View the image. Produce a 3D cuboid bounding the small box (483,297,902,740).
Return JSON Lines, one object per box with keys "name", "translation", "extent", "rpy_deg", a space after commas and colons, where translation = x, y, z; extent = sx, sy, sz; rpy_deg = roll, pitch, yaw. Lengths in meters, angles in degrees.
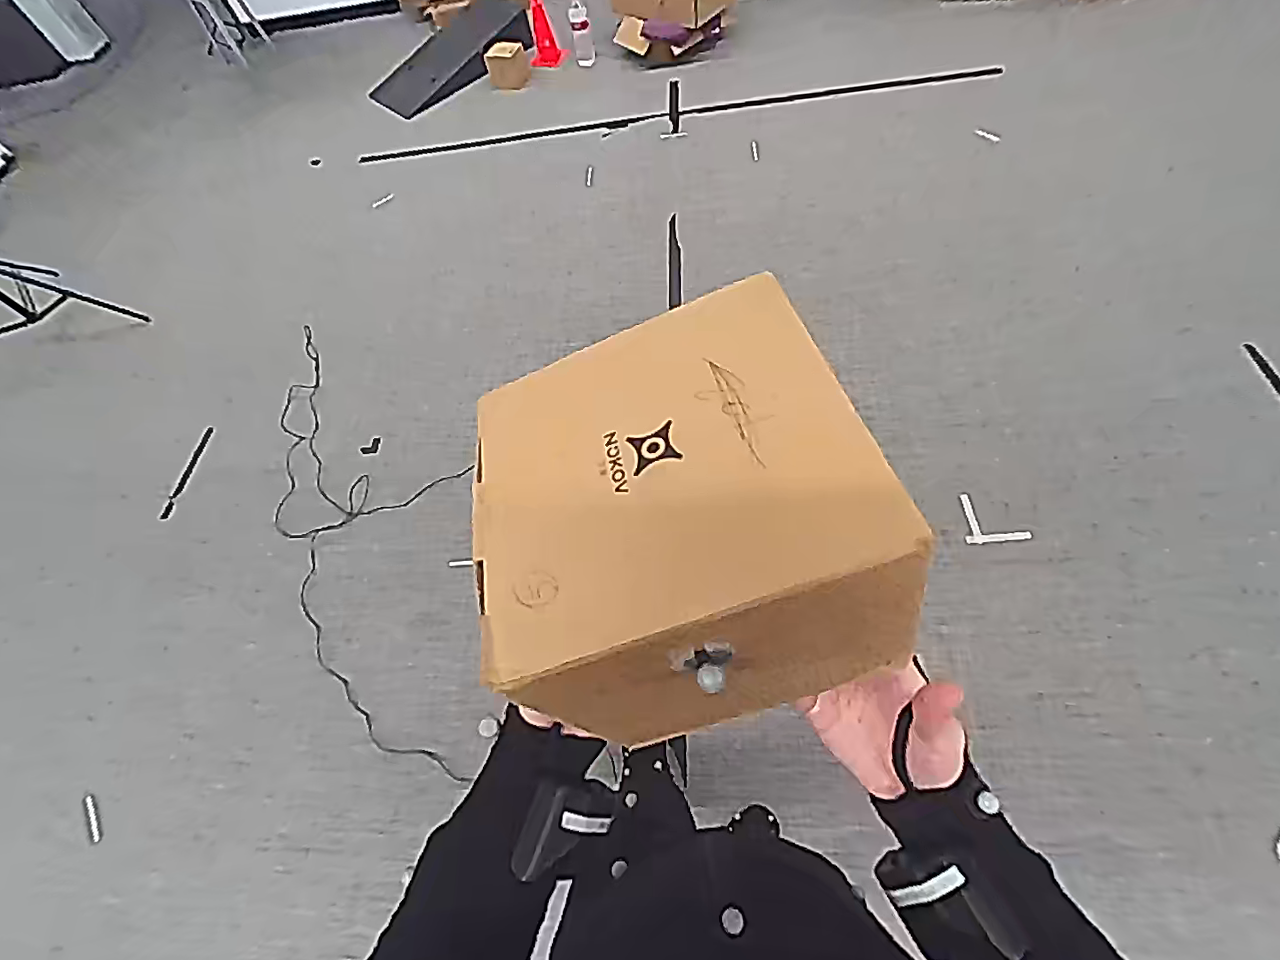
{"name": "small box", "translation": [0.030, 0.037, 0.317], "extent": [0.179, 0.176, 0.168], "rpy_deg": [-22, 53, 9]}
